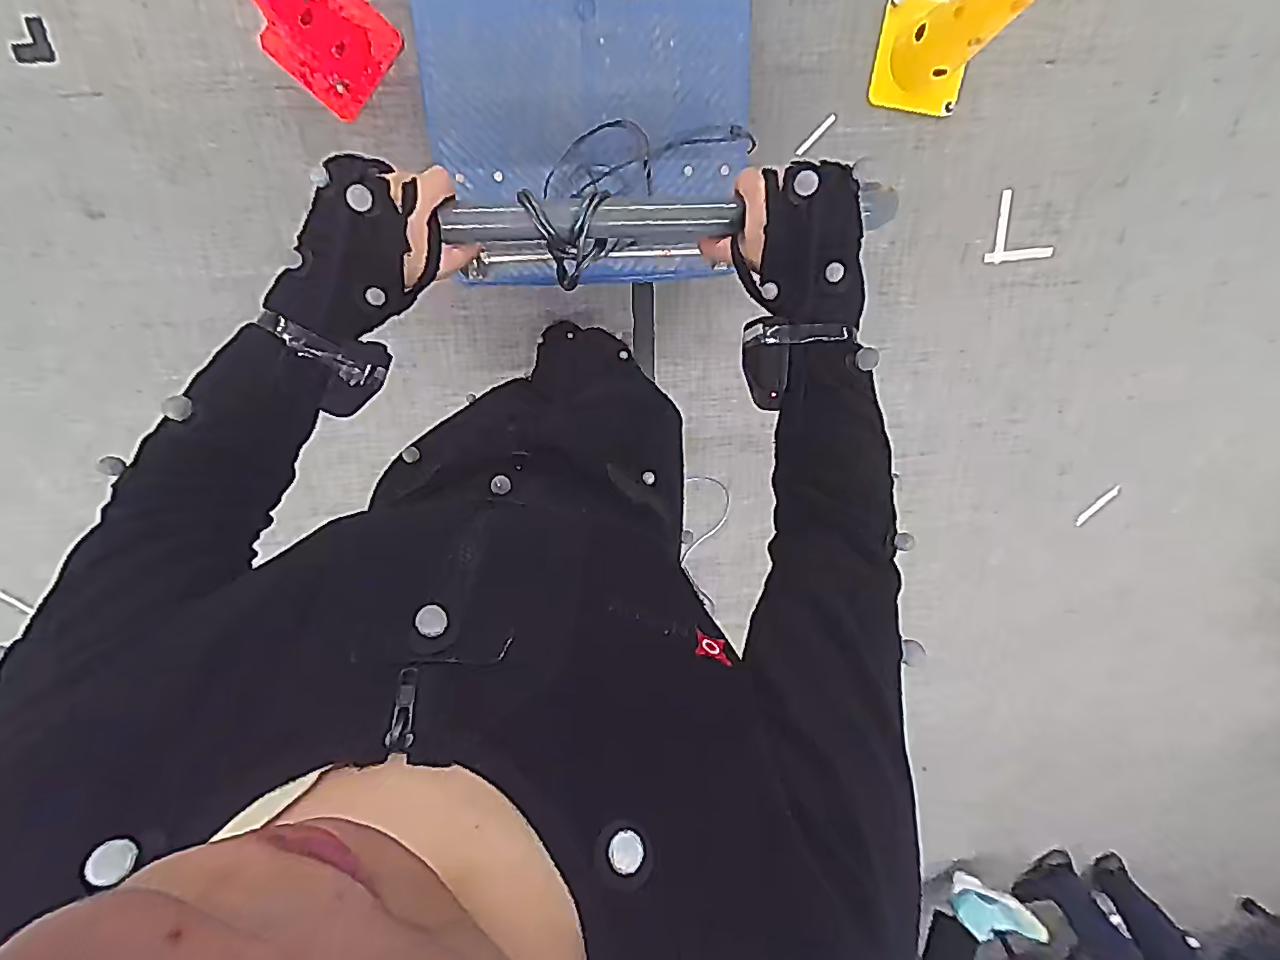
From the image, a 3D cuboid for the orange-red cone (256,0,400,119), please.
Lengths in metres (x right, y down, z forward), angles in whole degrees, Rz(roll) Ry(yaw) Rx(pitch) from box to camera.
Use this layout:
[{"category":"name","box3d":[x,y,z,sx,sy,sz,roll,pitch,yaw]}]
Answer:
[{"category":"orange-red cone","box3d":[-0.567,-0.776,0.867,0.198,0.360,0.199,40,100,-18]}]
